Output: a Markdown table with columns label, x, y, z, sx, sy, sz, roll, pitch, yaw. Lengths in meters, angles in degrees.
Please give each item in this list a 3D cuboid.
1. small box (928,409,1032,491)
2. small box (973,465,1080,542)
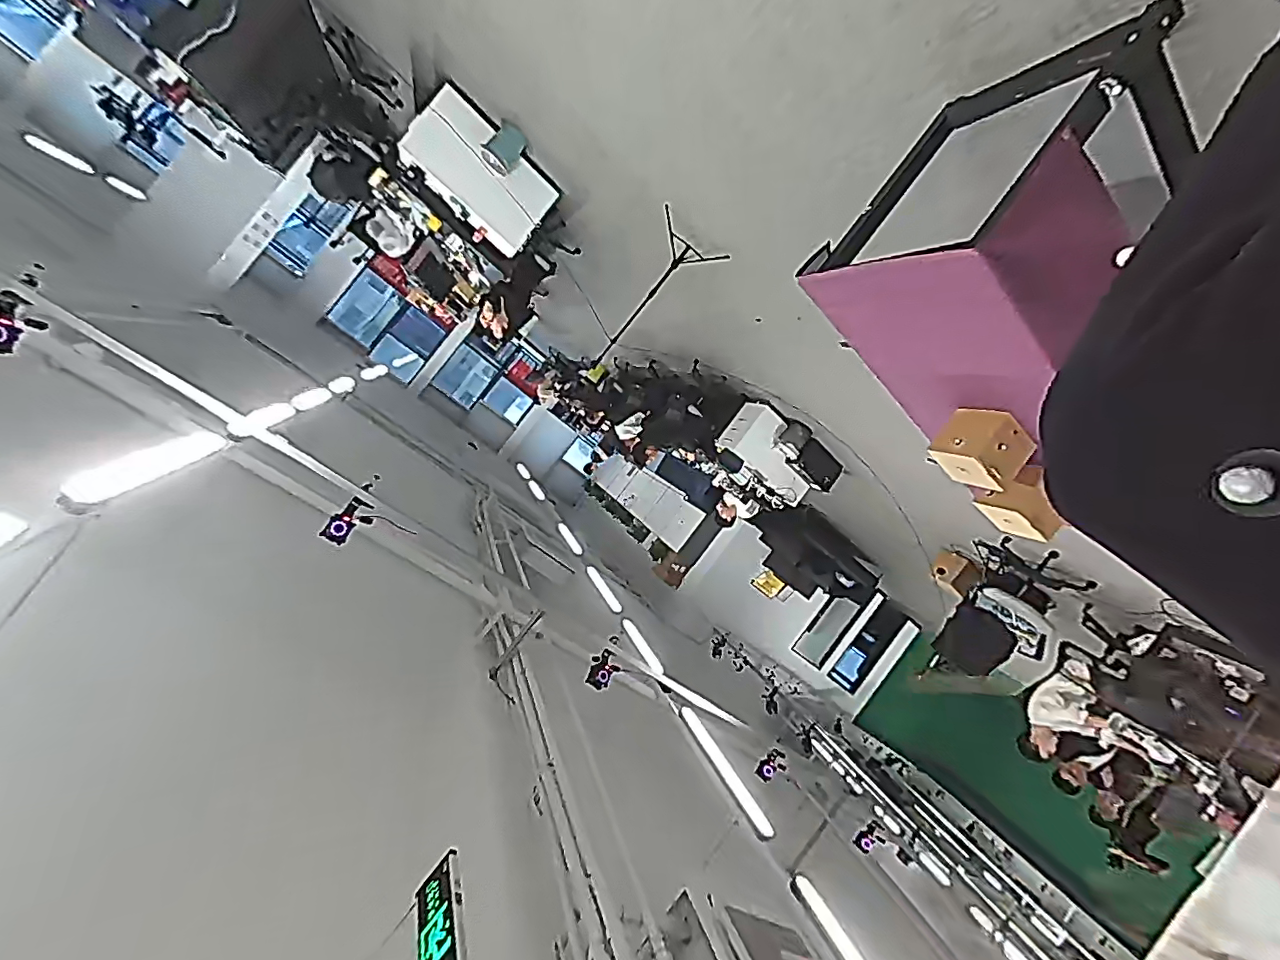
| label | x | y | z | sx | sy | sz | roll | pitch | yaw |
| --- | --- | --- | --- | --- | --- | --- | --- | --- | --- |
| small box | 1.005 | -0.094 | 1.591 | 0.168 | 0.176 | 0.179 | 39 | 178 | -22 |
| small box | 1.204 | 0.064 | 1.685 | 0.168 | 0.176 | 0.179 | 38 | 178 | -15 |
